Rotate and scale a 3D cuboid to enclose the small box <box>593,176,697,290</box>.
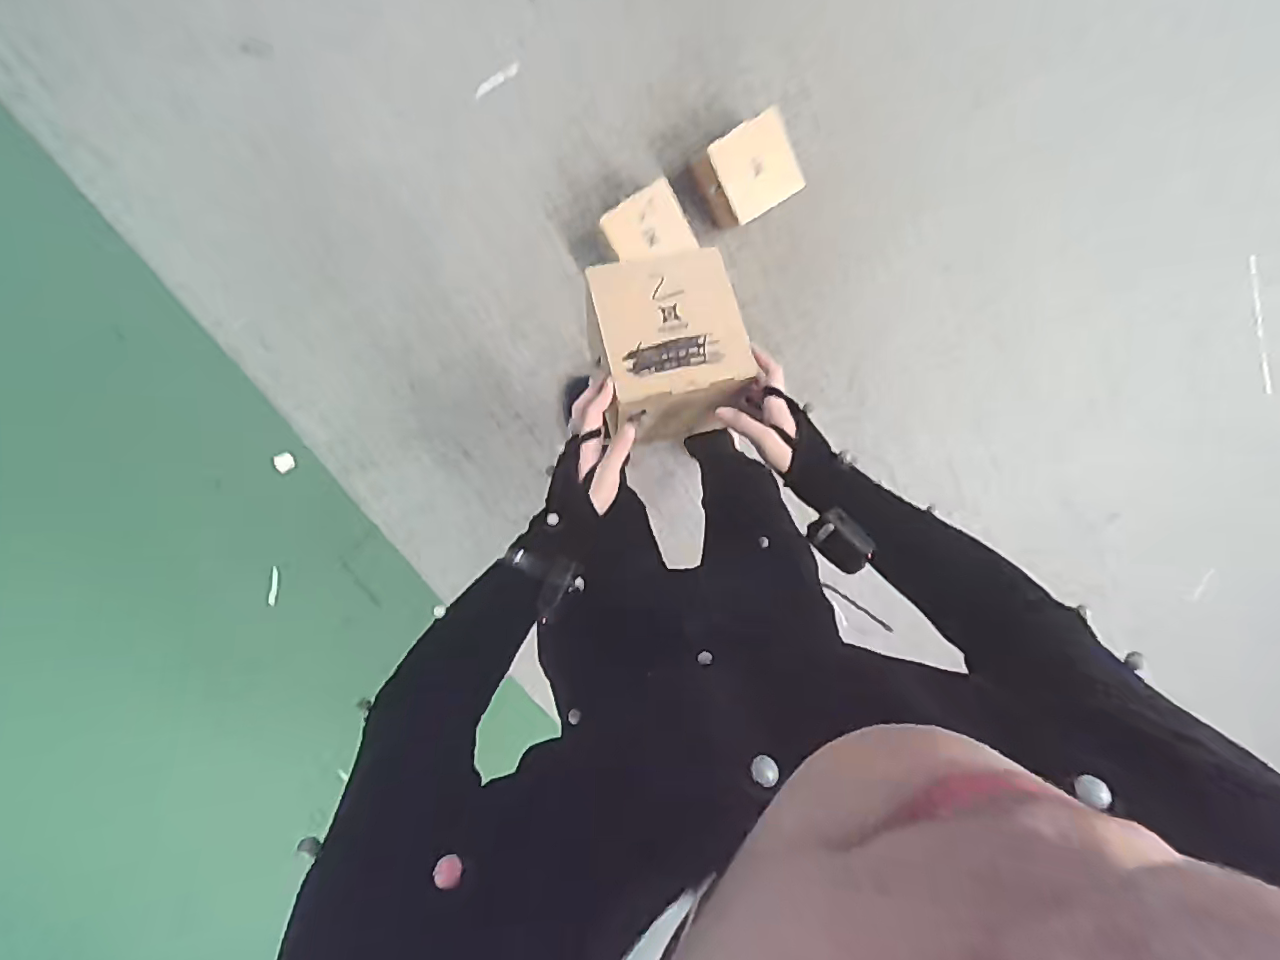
[{"bbox_3d":[0.006,-0.559,1.244,0.168,0.176,0.179,-32,111,3],"label":"small box"}]

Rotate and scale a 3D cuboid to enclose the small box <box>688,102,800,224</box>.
[{"bbox_3d":[0.230,-0.704,1.229,0.168,0.176,0.179,-32,111,4],"label":"small box"}]
